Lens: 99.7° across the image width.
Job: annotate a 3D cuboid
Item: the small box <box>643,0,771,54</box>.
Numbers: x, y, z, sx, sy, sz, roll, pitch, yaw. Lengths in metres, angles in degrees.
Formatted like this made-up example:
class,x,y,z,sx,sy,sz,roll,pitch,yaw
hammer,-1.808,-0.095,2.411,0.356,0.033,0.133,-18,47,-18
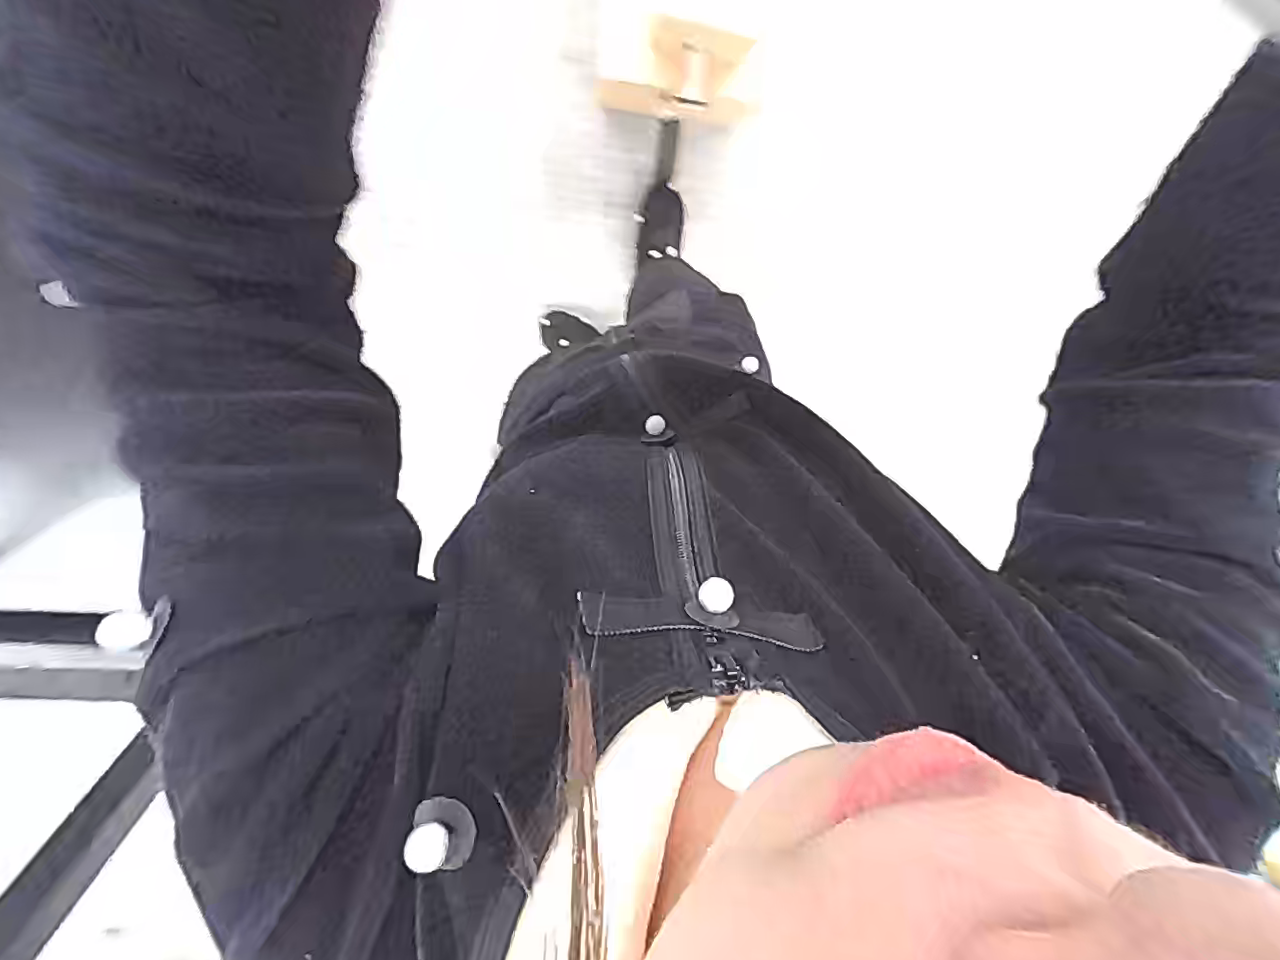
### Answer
class,x,y,z,sx,sy,sz,roll,pitch,yaw
small box,0.100,-0.740,0.759,0.168,0.176,0.179,7,117,-8

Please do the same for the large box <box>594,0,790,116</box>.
class,x,y,z,sx,sy,sz,roll,pitch,yaw
large box,0.083,-0.908,0.947,0.320,0.320,0.408,3,117,-8
